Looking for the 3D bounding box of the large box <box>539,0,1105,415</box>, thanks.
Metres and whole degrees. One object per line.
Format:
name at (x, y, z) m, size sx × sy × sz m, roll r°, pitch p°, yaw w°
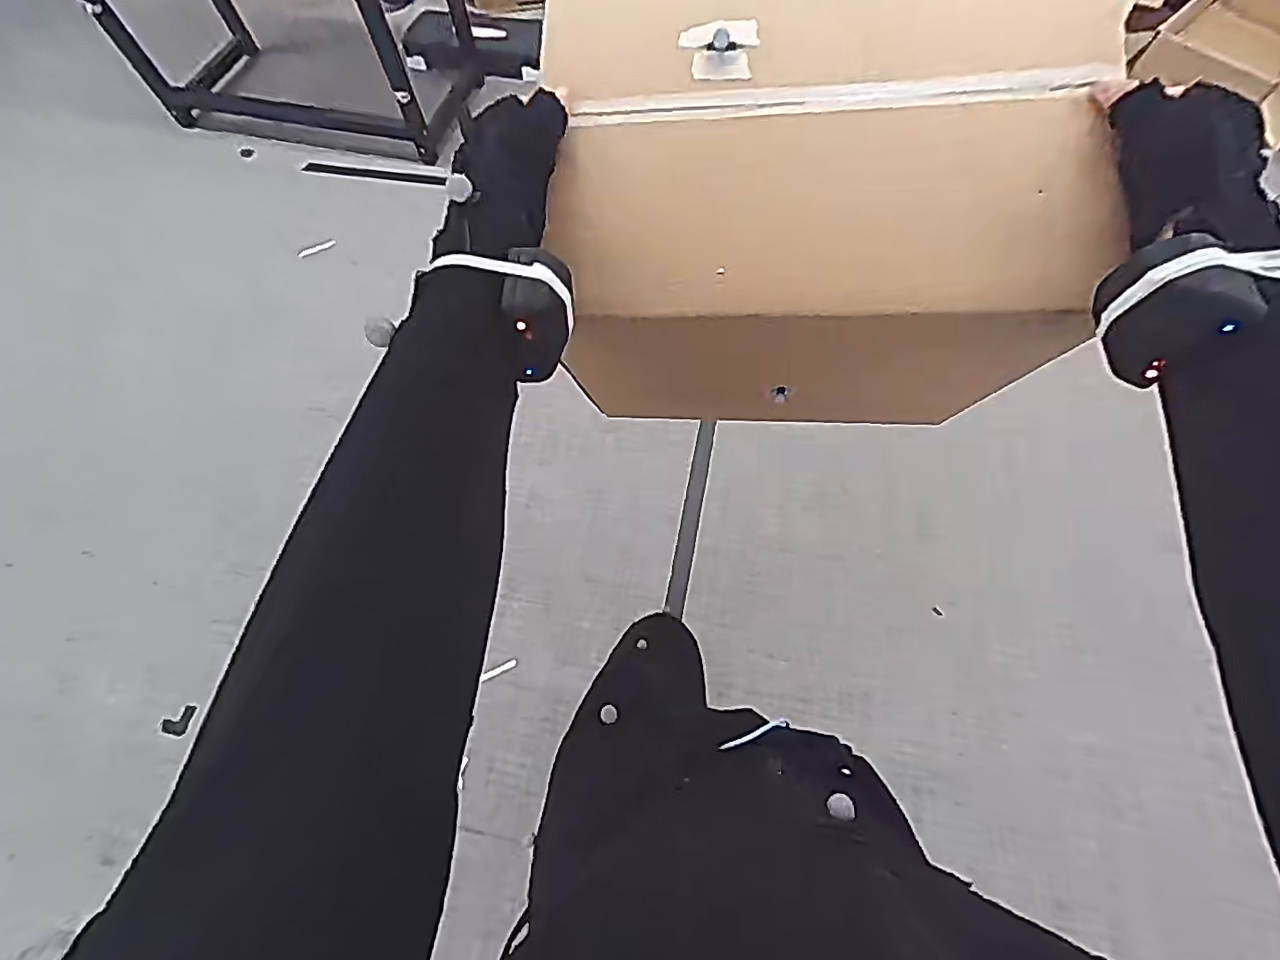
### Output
large box at (0.147, -0.251, 0.554) m, size 0.408 × 0.320 × 0.320 m, roll 2°, pitch 82°, yaw 9°
